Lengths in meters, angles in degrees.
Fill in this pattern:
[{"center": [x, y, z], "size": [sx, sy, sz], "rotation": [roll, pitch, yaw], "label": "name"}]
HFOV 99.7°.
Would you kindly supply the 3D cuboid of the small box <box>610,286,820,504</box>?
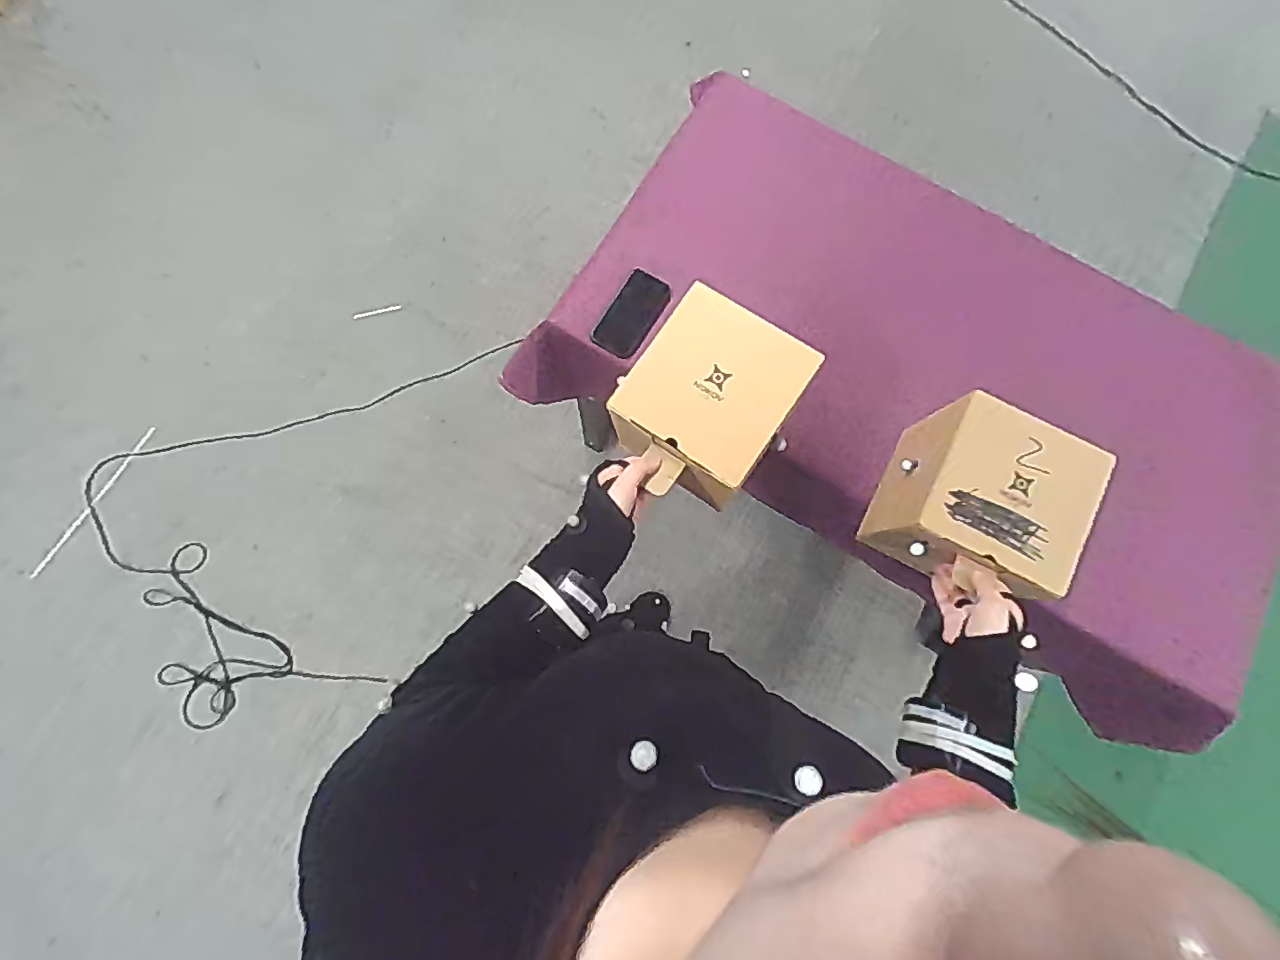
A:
[{"center": [0.085, -0.090, 0.658], "size": [0.168, 0.176, 0.179], "rotation": [33, 85, 10], "label": "small box"}]
